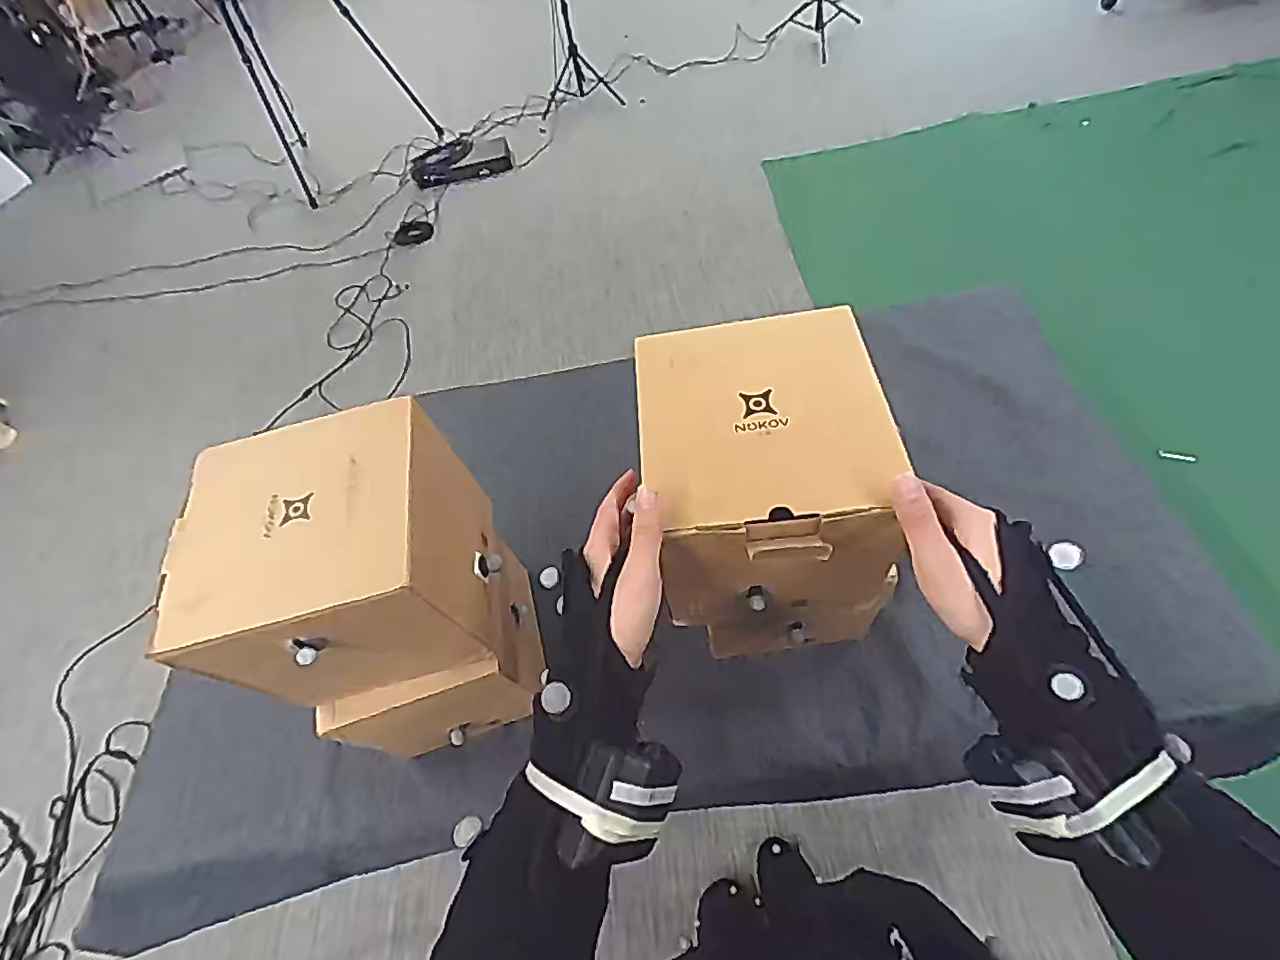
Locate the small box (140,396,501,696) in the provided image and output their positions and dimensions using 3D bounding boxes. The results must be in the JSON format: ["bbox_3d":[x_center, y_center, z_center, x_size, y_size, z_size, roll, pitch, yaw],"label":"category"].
[{"bbox_3d":[-0.230,0.063,0.444,0.179,0.176,0.168,-14,57,0],"label":"small box"}]

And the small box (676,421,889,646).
[{"bbox_3d":[0.137,0.067,0.576,0.168,0.176,0.179,-10,57,3],"label":"small box"}]

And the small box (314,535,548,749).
[{"bbox_3d":[-0.210,0.162,0.573,0.168,0.176,0.179,-19,57,-2],"label":"small box"}]
